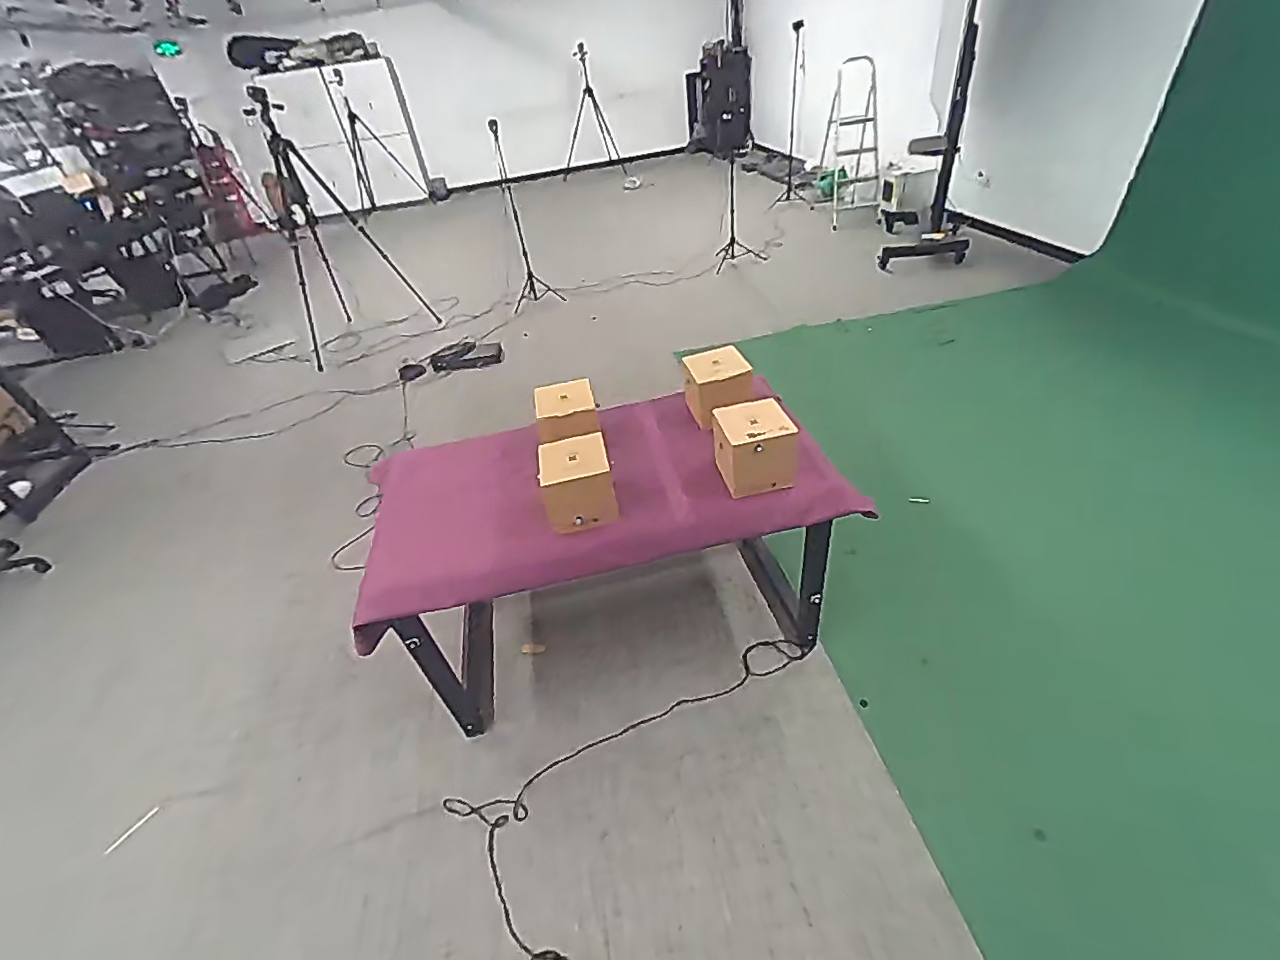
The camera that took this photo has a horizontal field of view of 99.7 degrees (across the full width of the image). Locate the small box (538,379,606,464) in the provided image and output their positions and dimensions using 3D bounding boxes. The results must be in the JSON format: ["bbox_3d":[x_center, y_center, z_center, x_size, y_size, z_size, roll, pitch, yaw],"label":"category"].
[{"bbox_3d":[-0.201,-0.171,1.590,0.168,0.176,0.179,-12,40,-5],"label":"small box"}]

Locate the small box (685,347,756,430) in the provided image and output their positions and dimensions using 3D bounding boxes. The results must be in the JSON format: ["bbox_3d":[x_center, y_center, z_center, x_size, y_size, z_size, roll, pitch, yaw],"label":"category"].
[{"bbox_3d":[0.241,-0.274,1.627,0.168,0.176,0.179,-15,40,-3],"label":"small box"}]

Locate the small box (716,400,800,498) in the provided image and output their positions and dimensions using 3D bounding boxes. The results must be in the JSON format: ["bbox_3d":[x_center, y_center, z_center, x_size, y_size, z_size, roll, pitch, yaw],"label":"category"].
[{"bbox_3d":[0.296,-0.080,1.380,0.168,0.176,0.179,-12,37,-2],"label":"small box"}]
